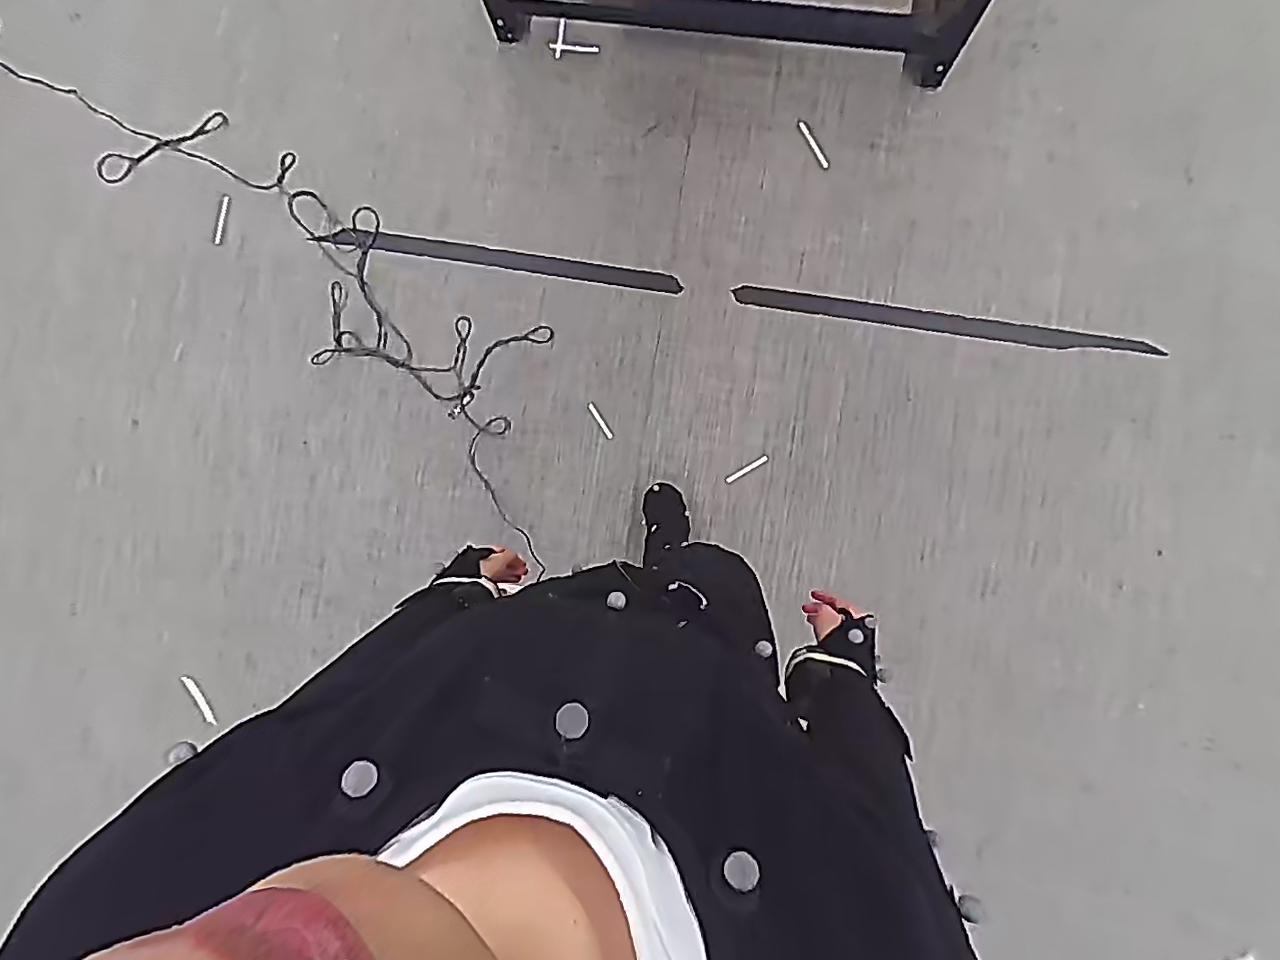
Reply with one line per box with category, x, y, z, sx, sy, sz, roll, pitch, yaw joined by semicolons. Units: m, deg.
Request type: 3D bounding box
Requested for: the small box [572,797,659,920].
small box;-0.052;0.890;1.290;0.179;0.176;0.168;8;88;3
